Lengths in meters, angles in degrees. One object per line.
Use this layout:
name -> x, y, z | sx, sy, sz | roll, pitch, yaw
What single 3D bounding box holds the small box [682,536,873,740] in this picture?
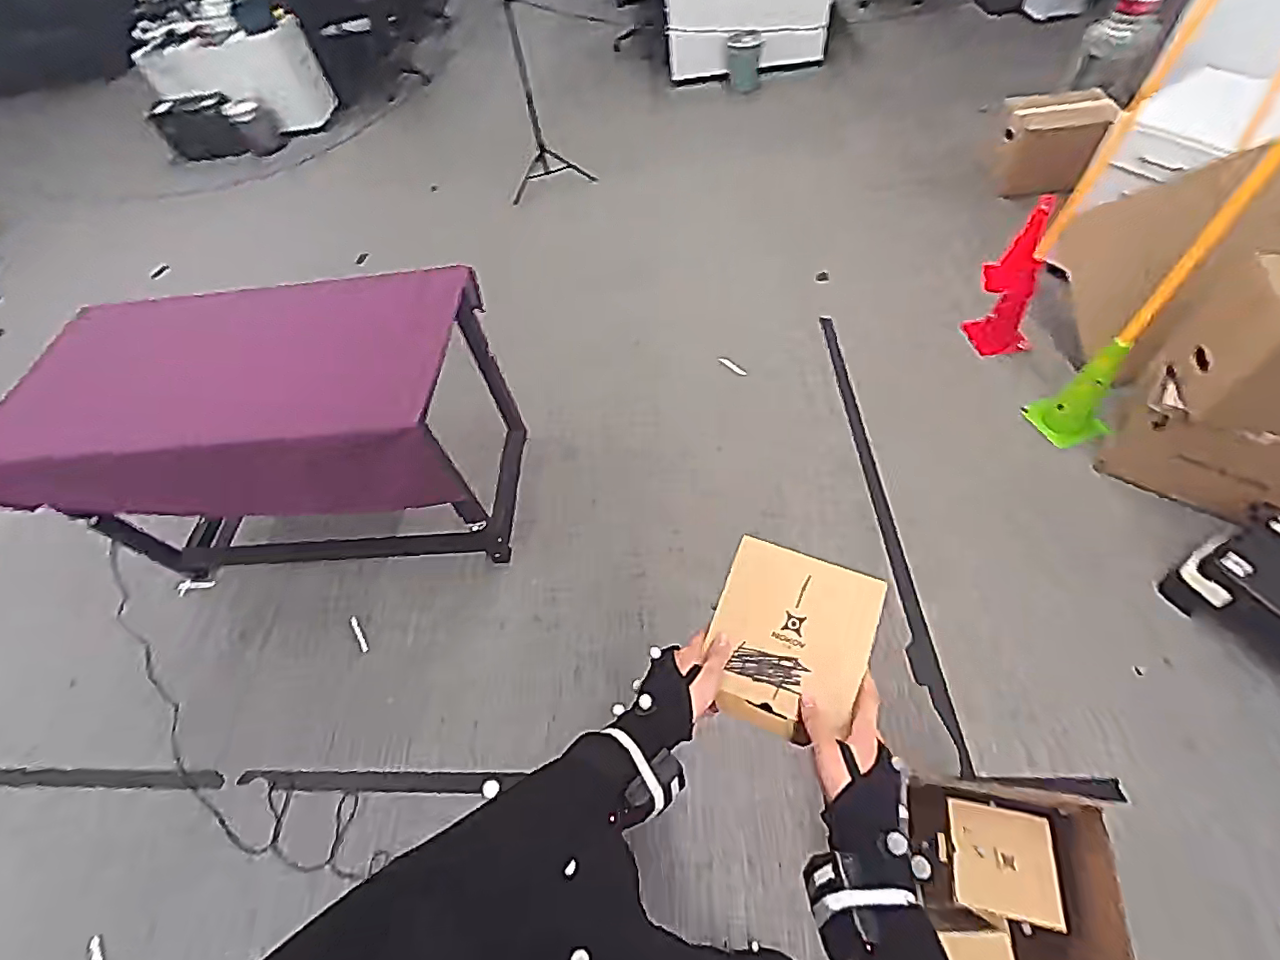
small box -> 0.165, 0.196, 0.661 | 0.168, 0.176, 0.179 | 17, 69, 17
